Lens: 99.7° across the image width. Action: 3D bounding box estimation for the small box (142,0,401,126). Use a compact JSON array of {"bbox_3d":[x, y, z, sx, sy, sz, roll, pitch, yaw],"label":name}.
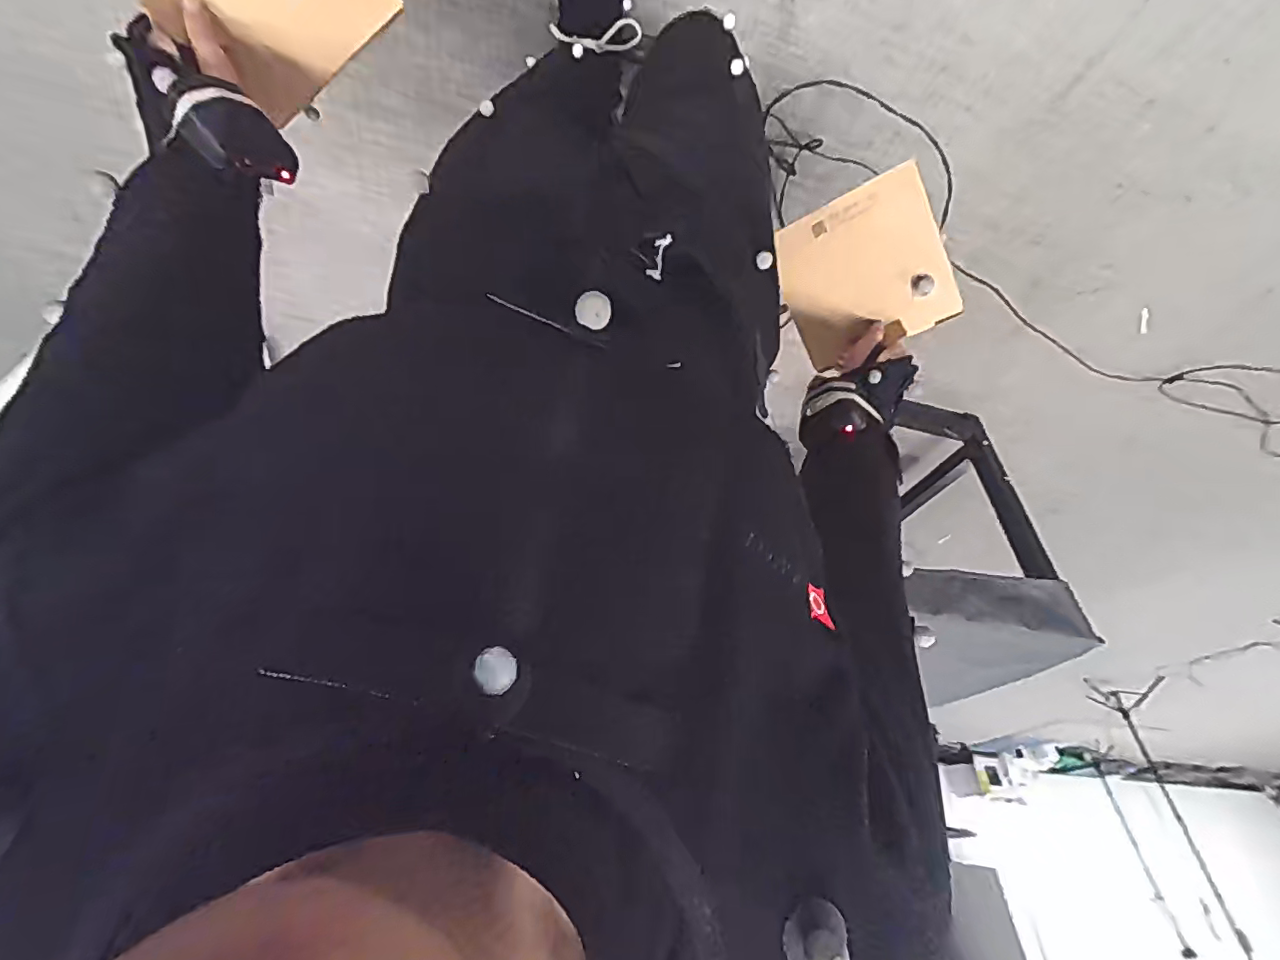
[{"bbox_3d":[-0.336,-0.460,0.476,0.176,0.179,0.168,-36,136,7],"label":"small box"}]
